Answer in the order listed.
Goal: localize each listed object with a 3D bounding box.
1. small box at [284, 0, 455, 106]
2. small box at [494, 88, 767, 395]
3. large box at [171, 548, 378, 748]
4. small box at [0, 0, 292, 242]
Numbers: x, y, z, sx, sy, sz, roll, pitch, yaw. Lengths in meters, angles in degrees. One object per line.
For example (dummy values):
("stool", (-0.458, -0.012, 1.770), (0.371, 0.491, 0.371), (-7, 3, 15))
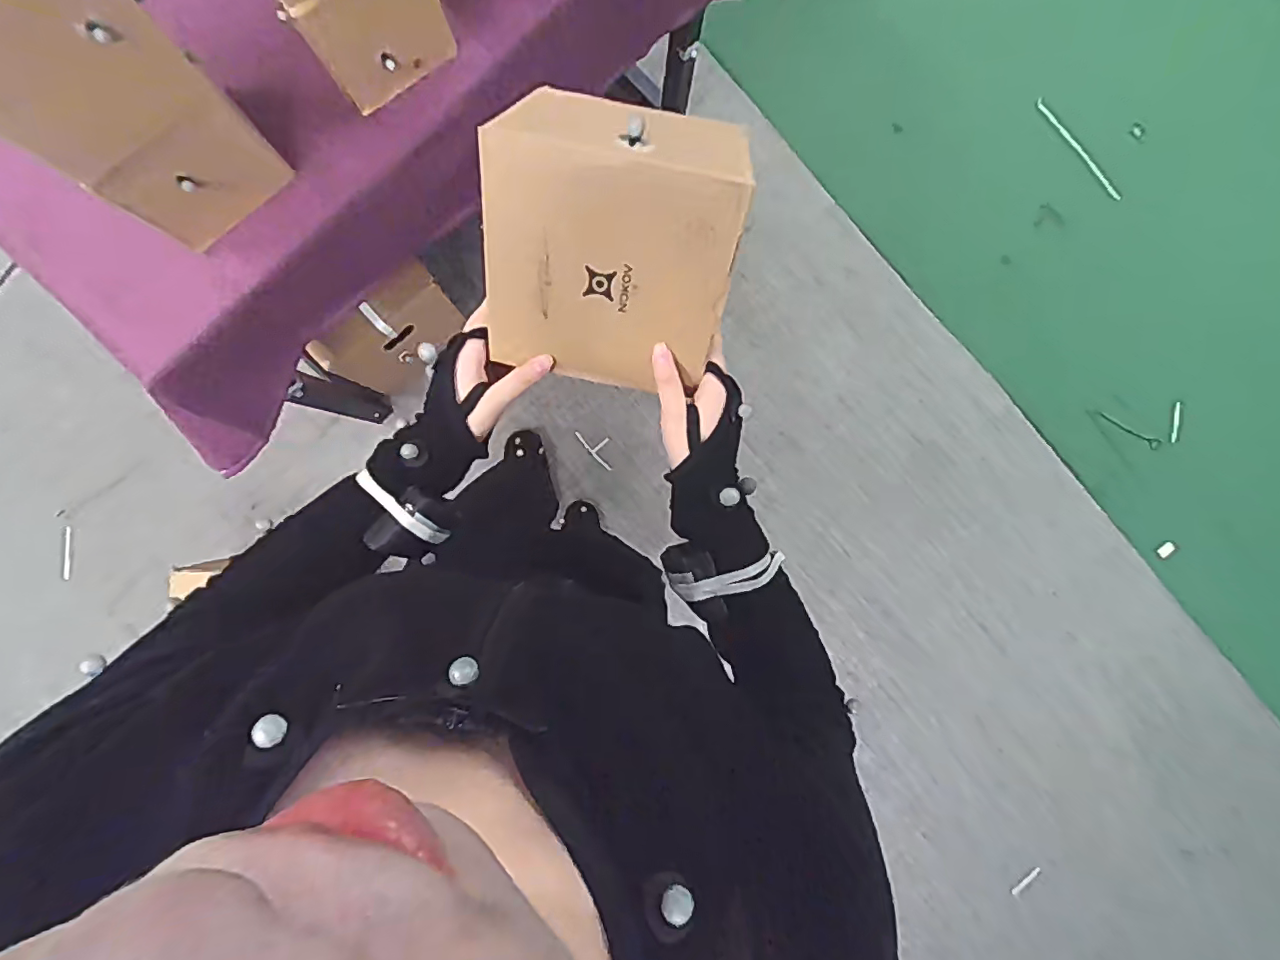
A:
("small box", (-0.368, -0.634, 0.682), (0.168, 0.176, 0.179), (-36, 92, -2))
("small box", (-0.010, -0.198, 0.444), (0.179, 0.176, 0.168), (12, 134, -2))
("large box", (-0.858, 0.382, 1.314), (0.320, 0.320, 0.408), (1, 89, -4))
("small box", (-0.588, -0.435, 0.668), (0.179, 0.176, 0.168), (-41, 92, -1))
